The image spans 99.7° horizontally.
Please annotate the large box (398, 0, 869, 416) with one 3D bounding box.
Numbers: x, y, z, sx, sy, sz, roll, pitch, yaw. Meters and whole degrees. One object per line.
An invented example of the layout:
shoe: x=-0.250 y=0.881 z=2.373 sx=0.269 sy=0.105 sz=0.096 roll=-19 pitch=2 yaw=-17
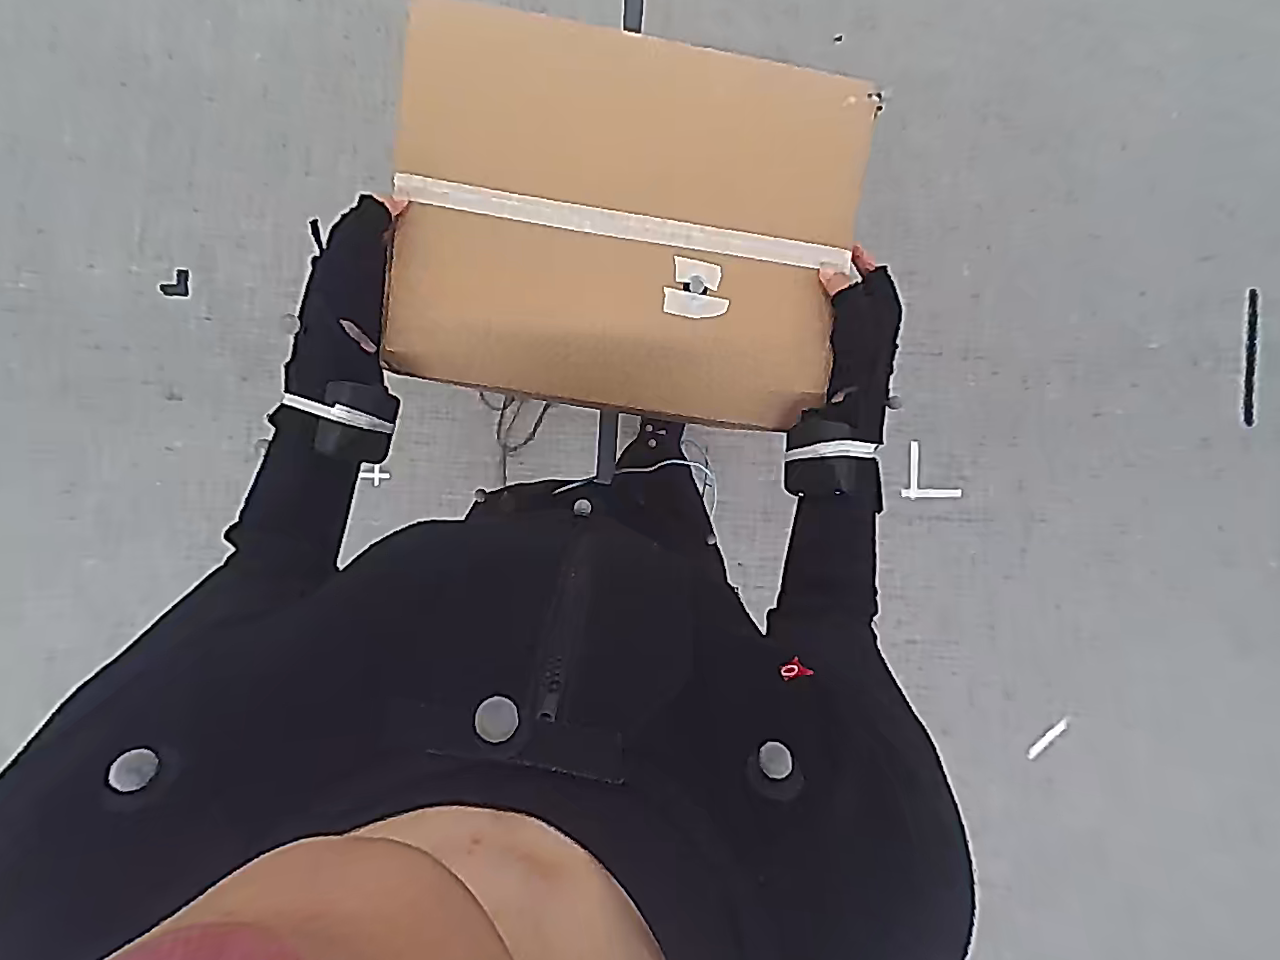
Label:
large box: x=-0.018 y=-0.254 z=0.638 sx=0.408 sy=0.320 sz=0.320 roll=8 pitch=97 yaw=-5
